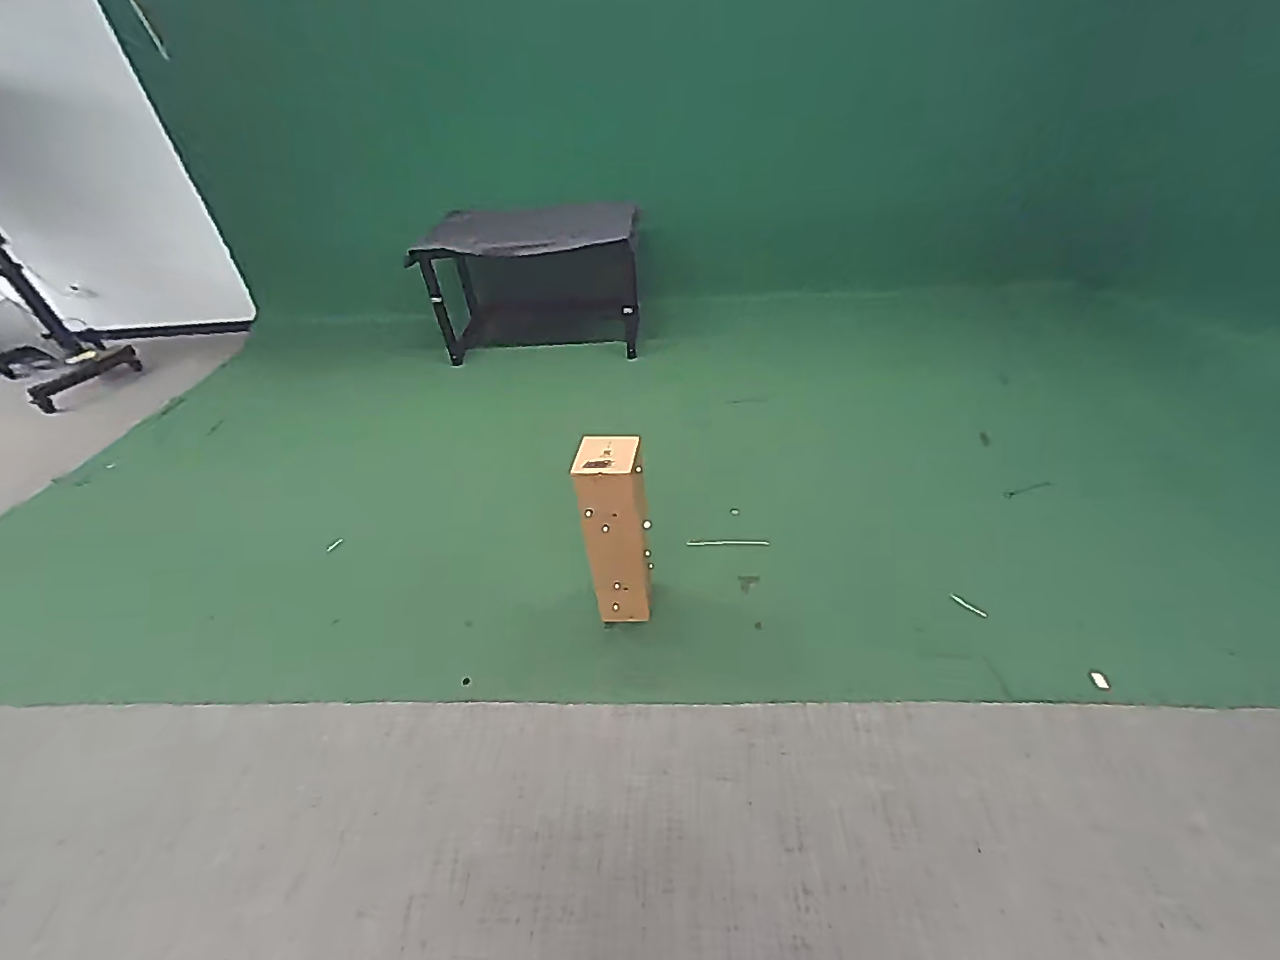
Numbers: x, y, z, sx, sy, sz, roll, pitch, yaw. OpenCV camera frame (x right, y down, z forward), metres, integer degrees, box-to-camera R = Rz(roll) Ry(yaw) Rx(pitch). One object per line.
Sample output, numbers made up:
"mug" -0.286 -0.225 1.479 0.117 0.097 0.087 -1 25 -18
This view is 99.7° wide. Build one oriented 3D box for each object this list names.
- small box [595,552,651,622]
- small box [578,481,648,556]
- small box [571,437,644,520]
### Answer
"small box" -0.051 0.368 1.847 0.168 0.176 0.179 -2 38 6
"small box" -0.075 0.117 1.636 0.179 0.176 0.168 0 40 8
"small box" -0.084 -0.004 1.525 0.168 0.176 0.179 1 39 10
